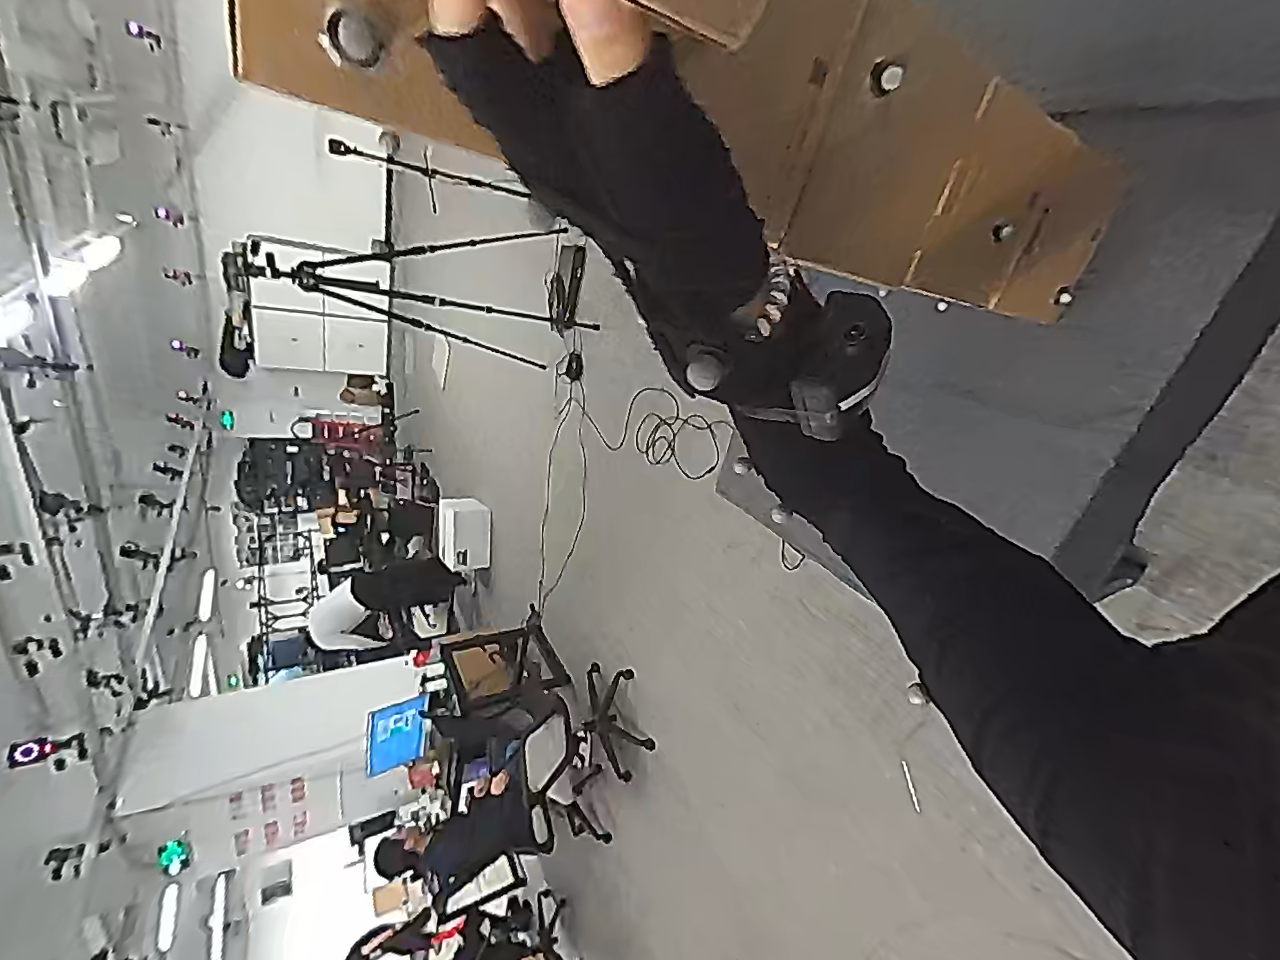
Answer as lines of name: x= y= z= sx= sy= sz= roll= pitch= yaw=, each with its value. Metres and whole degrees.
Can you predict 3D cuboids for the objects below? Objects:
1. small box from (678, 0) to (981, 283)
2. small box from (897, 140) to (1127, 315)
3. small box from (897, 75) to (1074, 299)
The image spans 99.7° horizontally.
small box: x=0.166 y=-0.296 z=0.489 sx=0.168 sy=0.176 sz=0.179 roll=45 pitch=129 yaw=46
small box: x=0.438 y=-0.309 z=0.668 sx=0.179 sy=0.176 sz=0.168 roll=44 pitch=128 yaw=48
small box: x=0.302 y=-0.302 z=0.580 sx=0.179 sy=0.176 sz=0.168 roll=43 pitch=127 yaw=47
